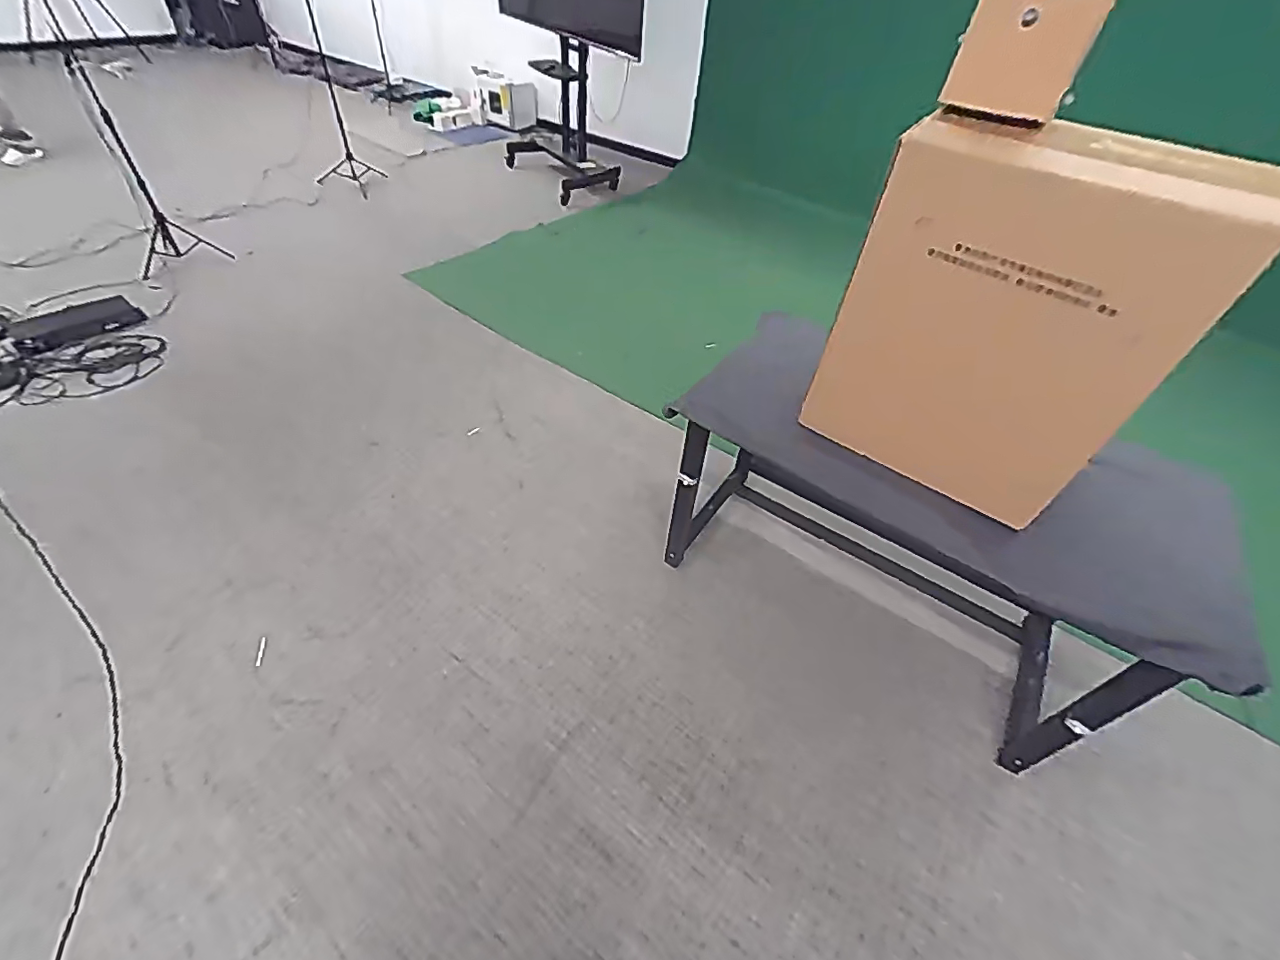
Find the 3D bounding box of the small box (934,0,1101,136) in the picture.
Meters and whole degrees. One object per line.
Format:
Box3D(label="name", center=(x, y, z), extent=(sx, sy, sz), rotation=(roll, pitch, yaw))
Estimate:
Box3D(label="small box", center=(0.641, -0.710, 0.932), extent=(0.179, 0.176, 0.168), rotation=(30, 43, 20))
